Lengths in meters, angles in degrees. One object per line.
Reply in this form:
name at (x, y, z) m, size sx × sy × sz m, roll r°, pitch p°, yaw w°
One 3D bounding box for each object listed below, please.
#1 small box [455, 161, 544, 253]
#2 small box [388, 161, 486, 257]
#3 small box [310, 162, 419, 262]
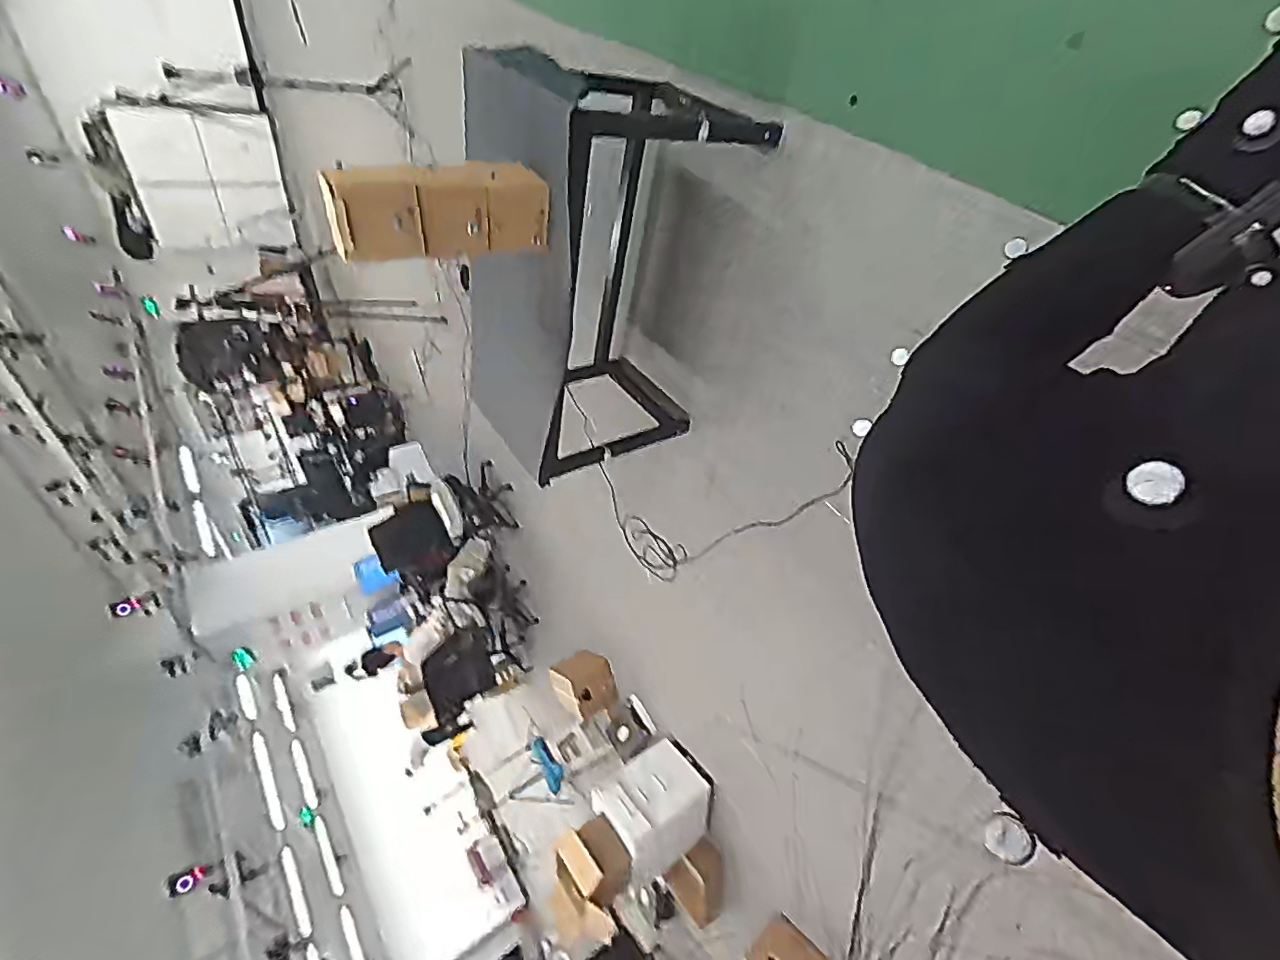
small box at (-0.361, -0.712, 1.401) m, size 0.179 × 0.176 × 0.168 m, roll 50°, pitch 144°, yaw 32°
small box at (-0.489, -0.662, 1.316) m, size 0.179 × 0.176 × 0.168 m, roll 46°, pitch 142°, yaw 34°
small box at (-0.618, -0.610, 1.225) m, size 0.179 × 0.176 × 0.168 m, roll 44°, pitch 142°, yaw 37°
